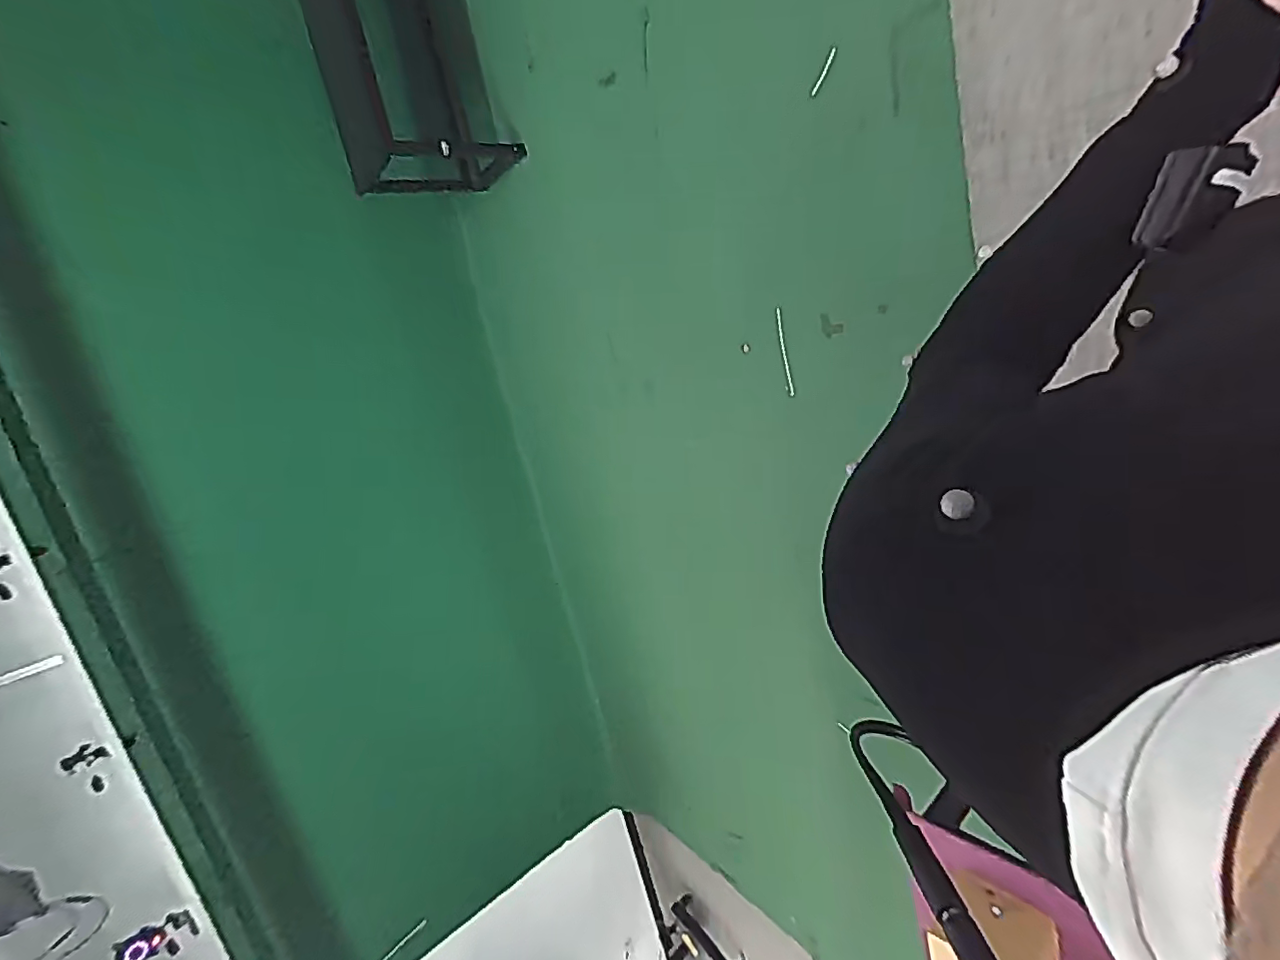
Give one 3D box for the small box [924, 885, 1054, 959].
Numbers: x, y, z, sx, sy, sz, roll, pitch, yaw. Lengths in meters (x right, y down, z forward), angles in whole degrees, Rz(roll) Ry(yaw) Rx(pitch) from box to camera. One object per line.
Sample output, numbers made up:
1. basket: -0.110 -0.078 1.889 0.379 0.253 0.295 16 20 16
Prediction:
1. small box: 0.671 0.944 1.032 0.168 0.176 0.179 3 109 52
